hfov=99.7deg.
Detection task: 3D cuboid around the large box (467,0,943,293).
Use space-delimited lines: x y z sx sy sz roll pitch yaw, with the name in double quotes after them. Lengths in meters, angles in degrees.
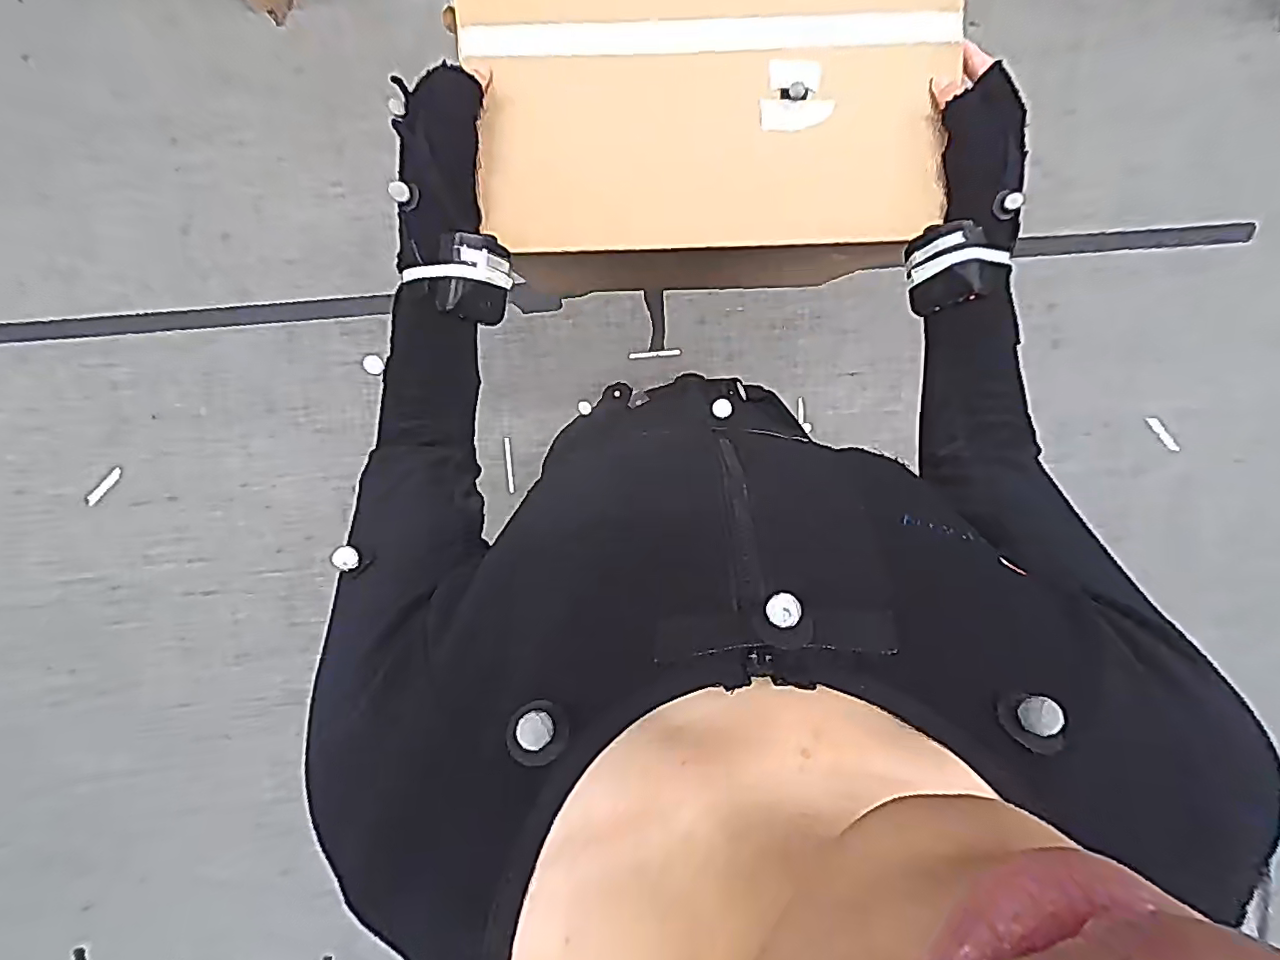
0.051 -0.397 0.601 0.408 0.320 0.320 -3 103 -1 "large box"
